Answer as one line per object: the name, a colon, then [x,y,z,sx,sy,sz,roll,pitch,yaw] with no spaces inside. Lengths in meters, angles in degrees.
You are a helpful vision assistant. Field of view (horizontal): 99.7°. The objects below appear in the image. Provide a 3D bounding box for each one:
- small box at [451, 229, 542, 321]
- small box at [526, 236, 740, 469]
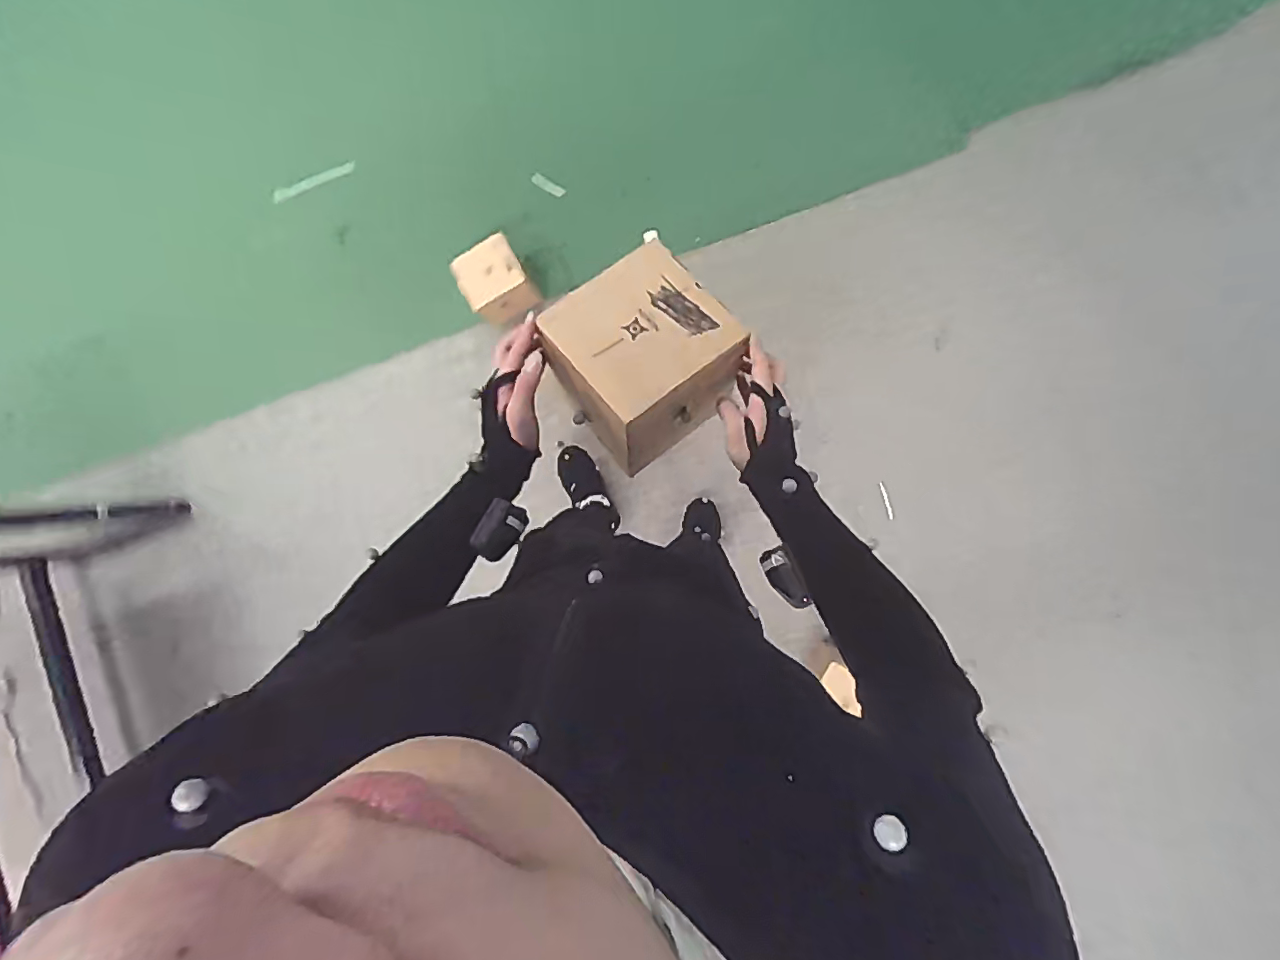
small box: [-0.421,-0.603,1.618,0.179,0.176,0.168,-28,87,8]
small box: [-0.008,-0.144,0.655,0.179,0.176,0.168,-39,75,-10]
